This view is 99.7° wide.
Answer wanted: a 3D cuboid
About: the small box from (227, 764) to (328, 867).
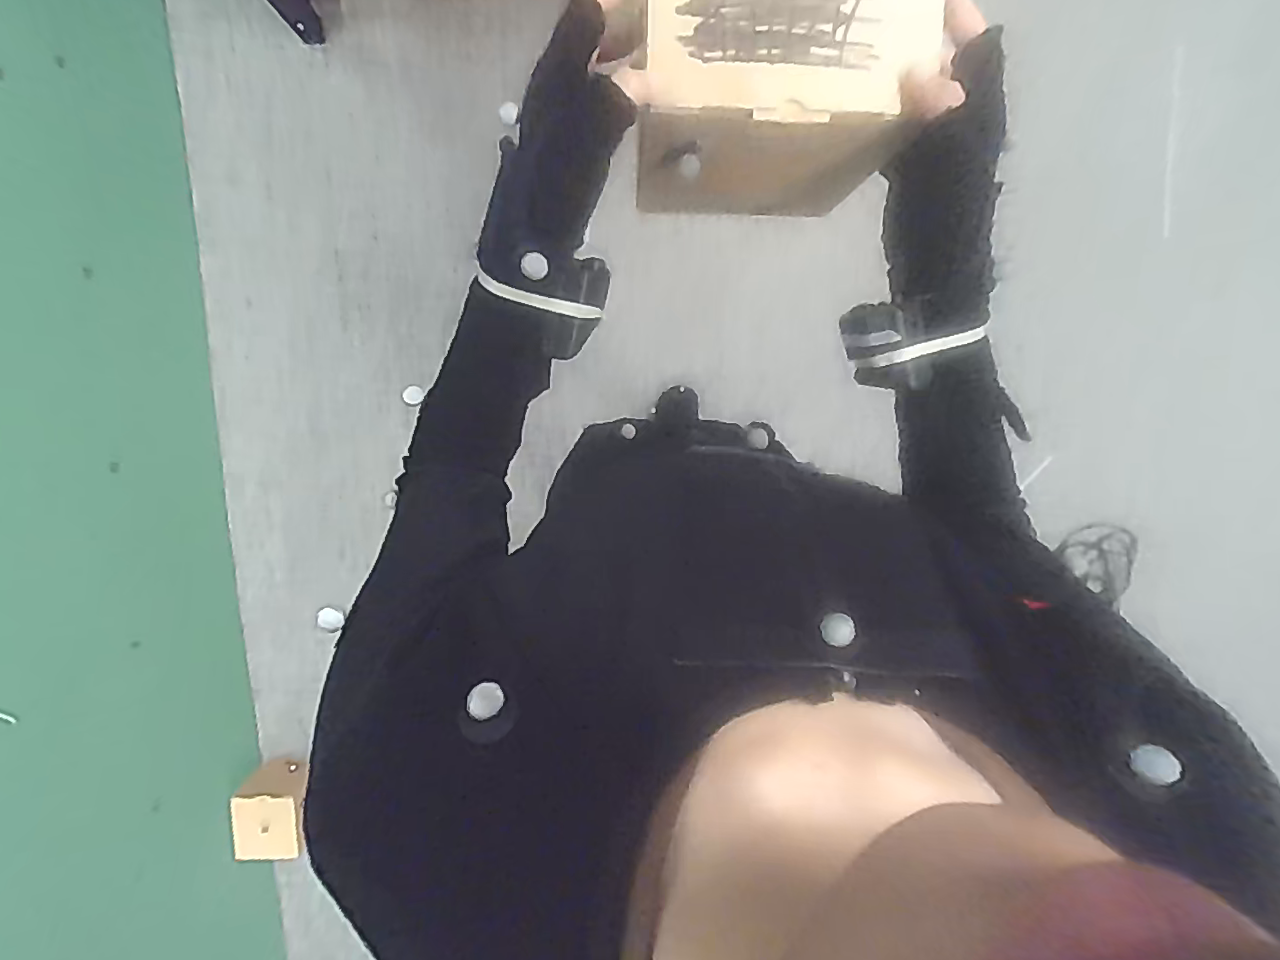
[{"bbox_3d":[-0.971,0.902,1.464,0.168,0.176,0.179,-1,95,-2],"label":"small box"}]
